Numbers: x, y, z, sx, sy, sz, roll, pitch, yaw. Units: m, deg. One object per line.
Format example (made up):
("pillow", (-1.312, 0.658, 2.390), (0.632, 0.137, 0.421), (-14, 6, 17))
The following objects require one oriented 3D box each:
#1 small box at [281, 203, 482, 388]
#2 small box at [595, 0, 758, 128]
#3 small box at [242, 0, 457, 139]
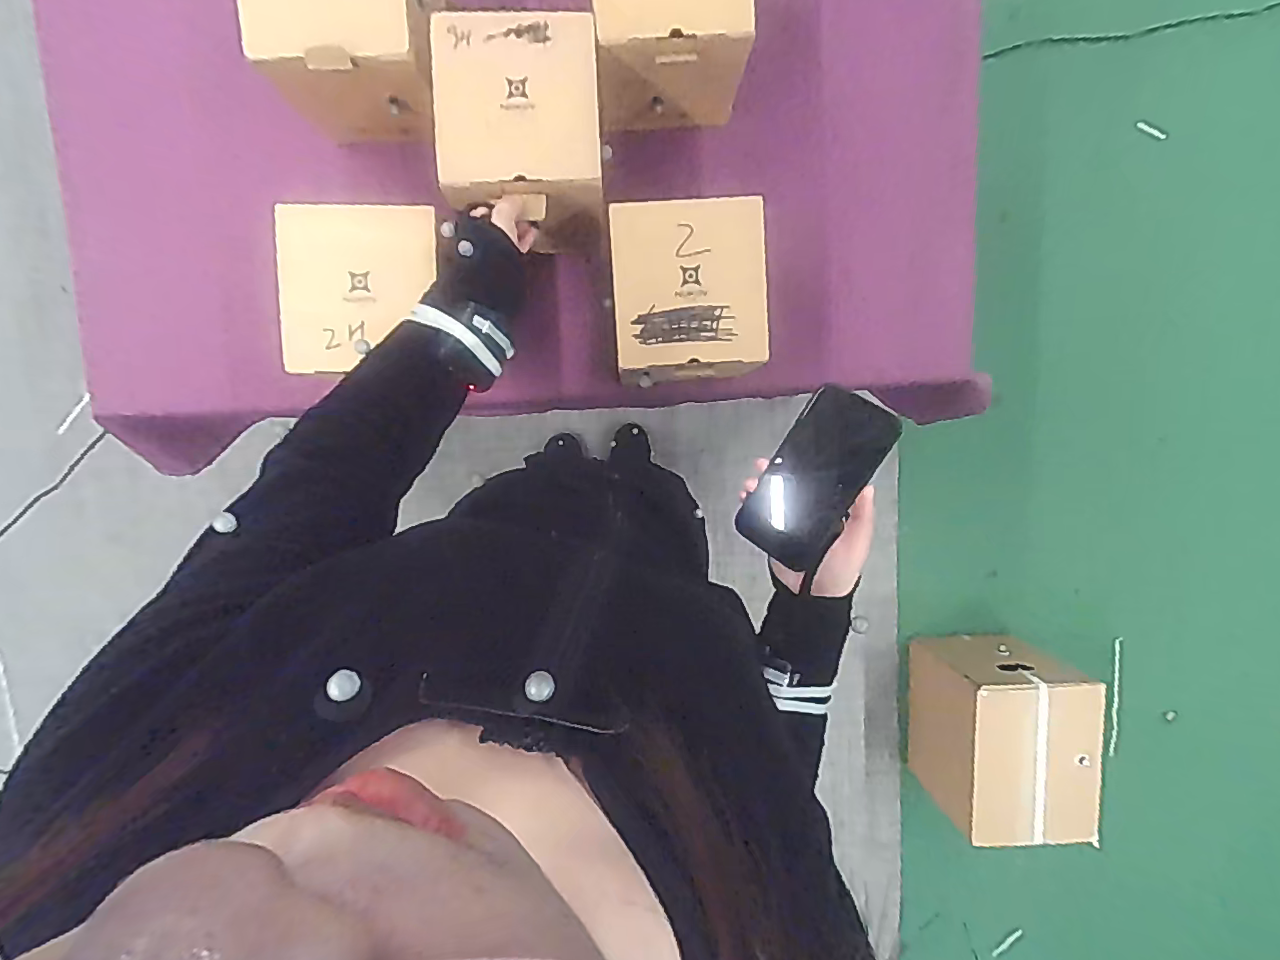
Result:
("small box", (-0.294, -0.207, 0.649), (0.168, 0.176, 0.179), (1, 96, -1))
("small box", (0.032, -0.545, 0.624), (0.168, 0.176, 0.179), (-4, 97, -2))
("small box", (-0.317, -0.517, 0.618), (0.168, 0.176, 0.179), (-2, 96, -3))
